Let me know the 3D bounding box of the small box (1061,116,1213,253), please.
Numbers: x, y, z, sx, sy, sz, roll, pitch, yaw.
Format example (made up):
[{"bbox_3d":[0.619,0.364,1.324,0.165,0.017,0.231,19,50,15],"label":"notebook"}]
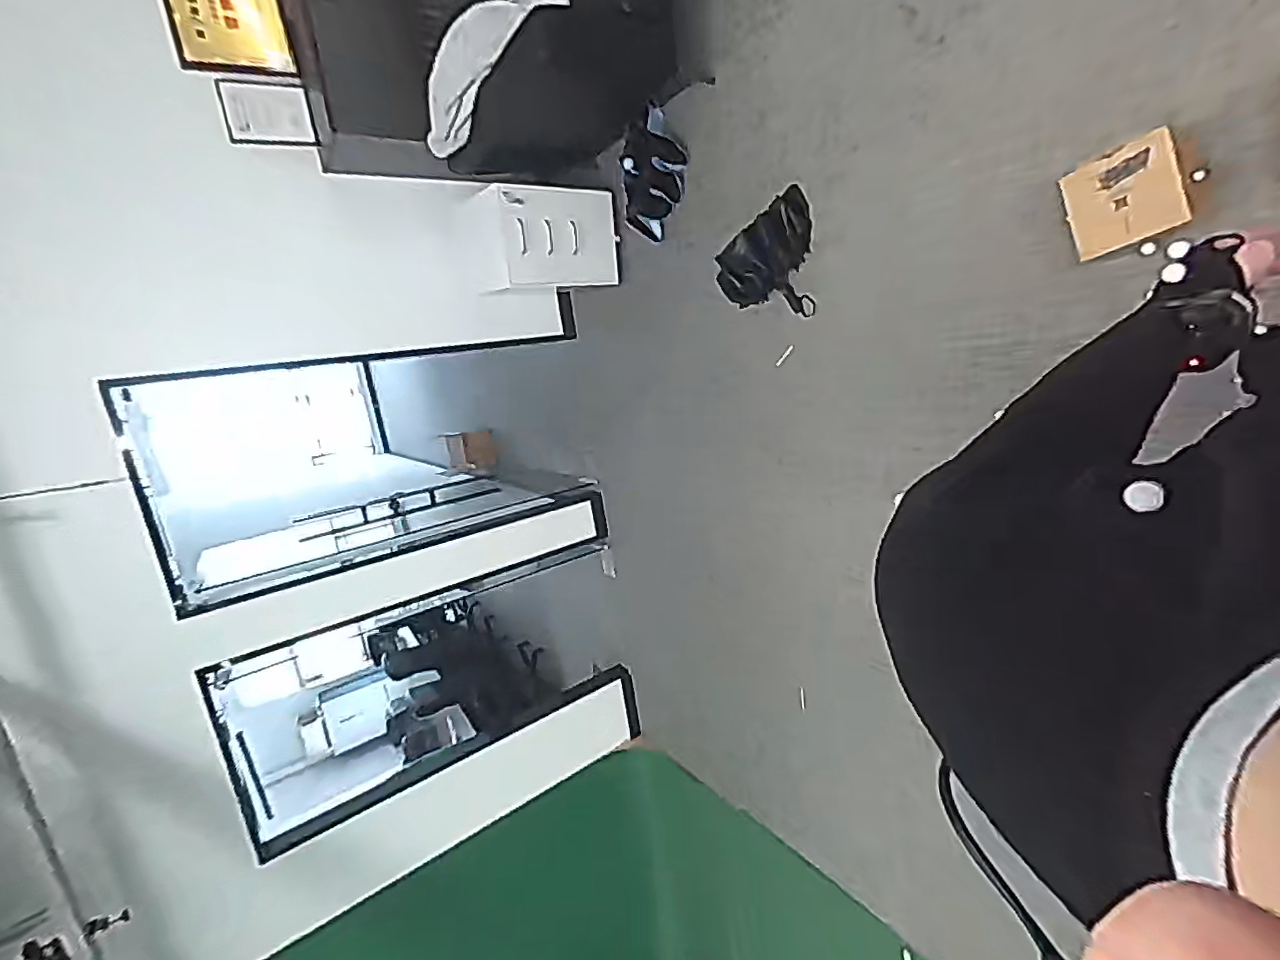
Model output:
[{"bbox_3d":[0.967,-0.562,1.054,0.168,0.176,0.179,-14,93,58],"label":"small box"}]
